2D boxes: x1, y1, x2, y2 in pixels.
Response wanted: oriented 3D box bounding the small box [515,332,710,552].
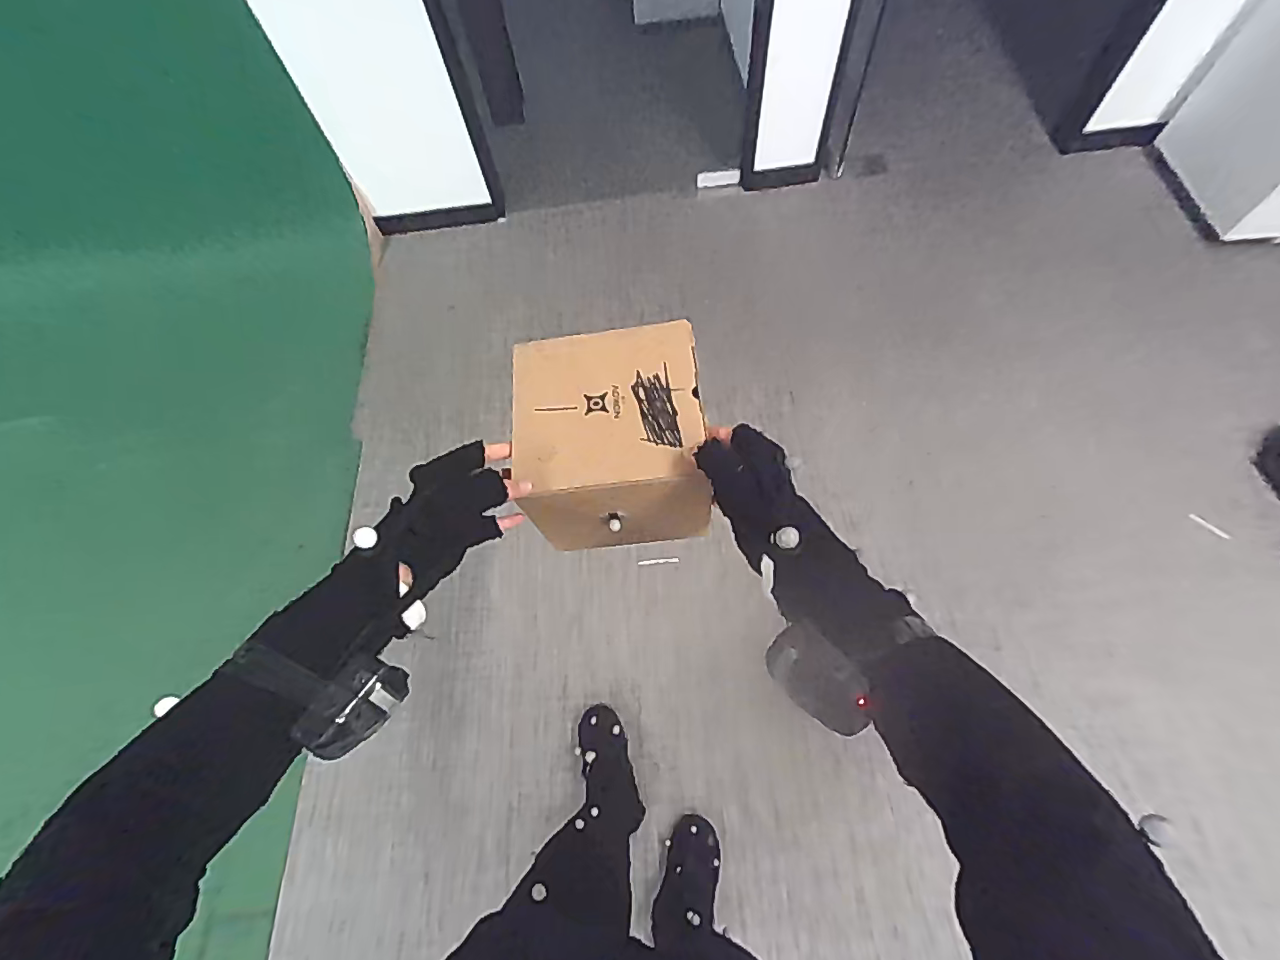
[{"bbox_3d":[-0.024,-0.031,0.580,0.179,0.176,0.168,-7,64,4],"label":"small box"}]
